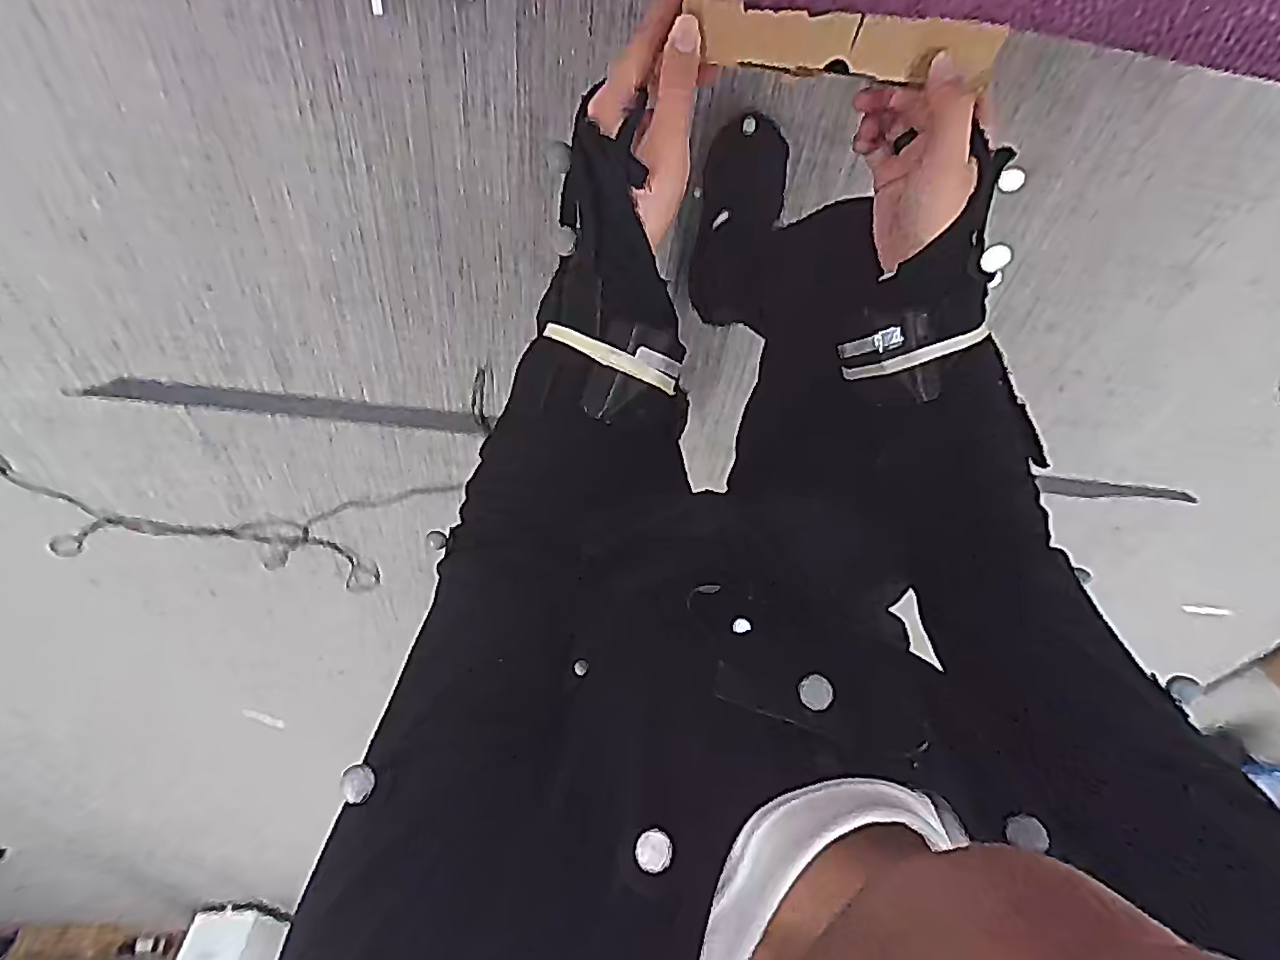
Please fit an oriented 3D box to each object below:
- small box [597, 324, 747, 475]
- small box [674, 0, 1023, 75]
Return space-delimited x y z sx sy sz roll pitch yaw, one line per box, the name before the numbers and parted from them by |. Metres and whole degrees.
small box | 0.046 -0.123 0.823 0.179 0.176 0.168 -20 109 8
small box | 0.110 -0.336 0.276 0.168 0.176 0.179 3 132 -7
